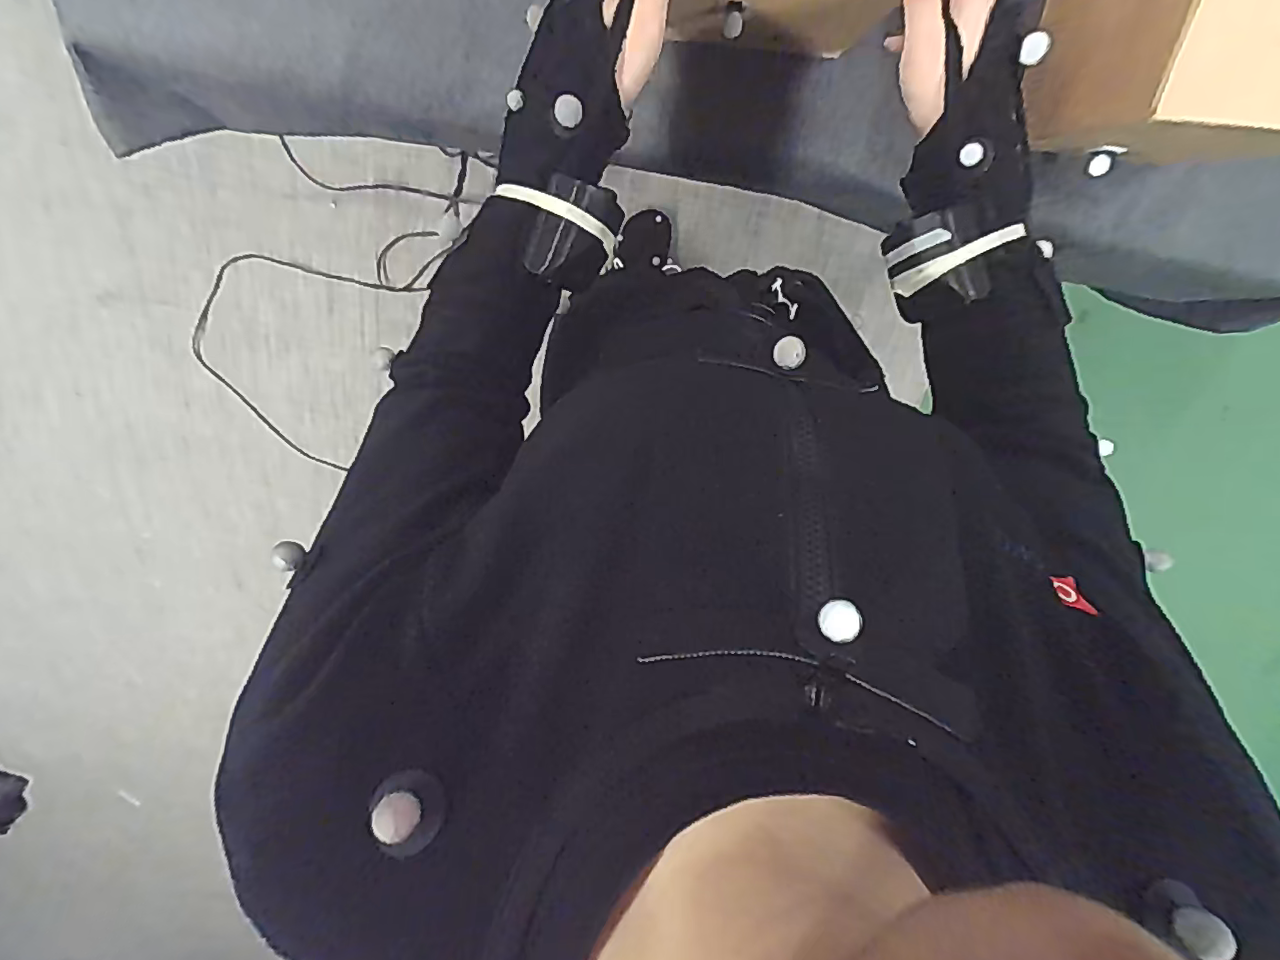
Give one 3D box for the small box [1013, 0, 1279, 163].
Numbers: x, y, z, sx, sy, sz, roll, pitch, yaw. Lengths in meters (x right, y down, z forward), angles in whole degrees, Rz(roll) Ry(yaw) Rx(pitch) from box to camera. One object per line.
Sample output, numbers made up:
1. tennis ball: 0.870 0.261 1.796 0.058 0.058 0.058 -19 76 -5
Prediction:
1. small box: 0.412 -0.338 0.381 0.168 0.176 0.179 4 116 -1
